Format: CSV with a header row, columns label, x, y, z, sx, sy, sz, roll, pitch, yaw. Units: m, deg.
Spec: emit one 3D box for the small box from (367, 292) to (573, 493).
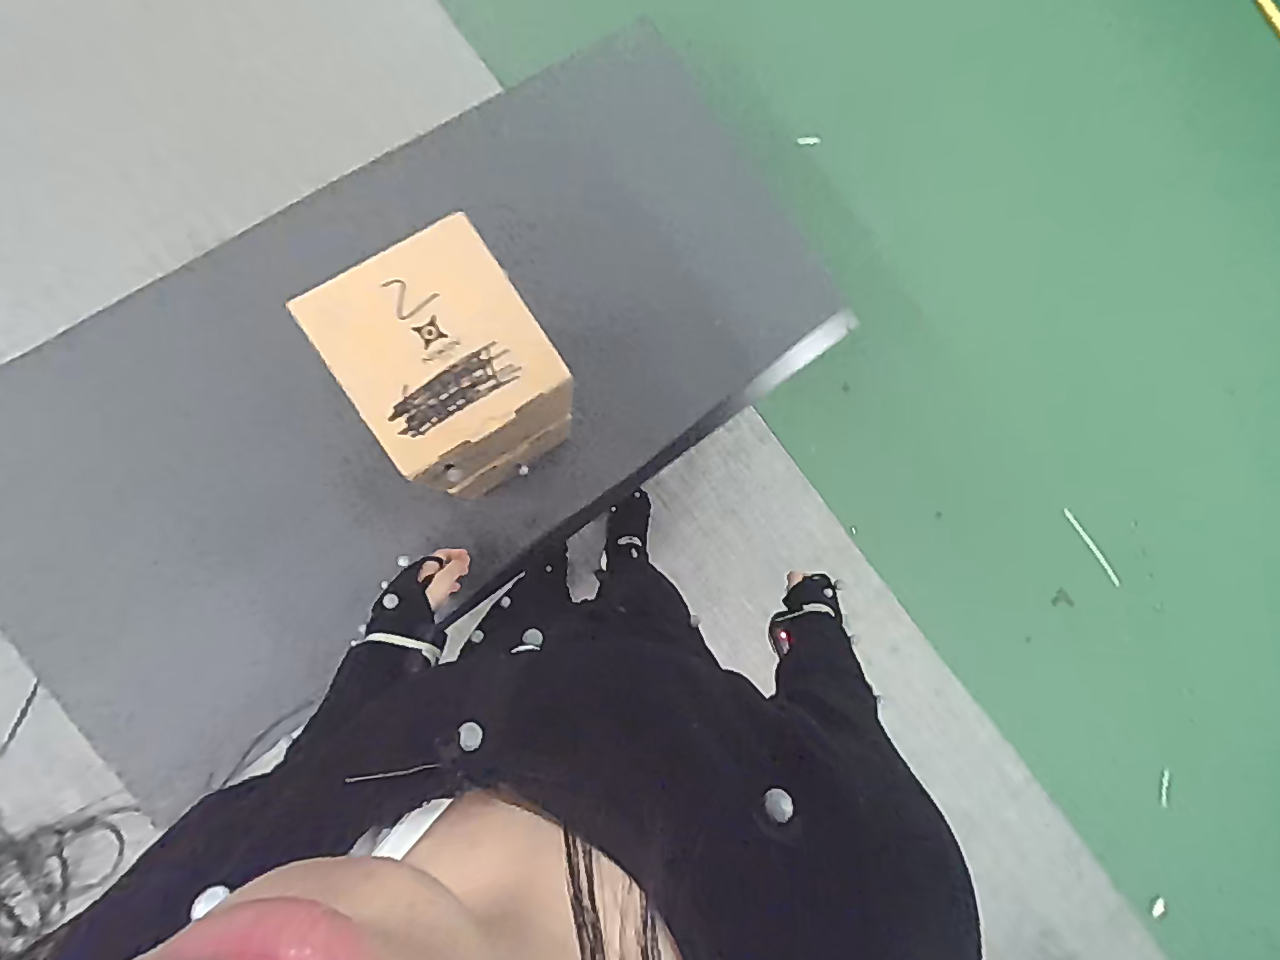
label,x,y,z,sx,sy,sz,roll,pitch,yaw
small box,-0.204,-0.097,0.692,0.168,0.176,0.179,-35,92,-9
